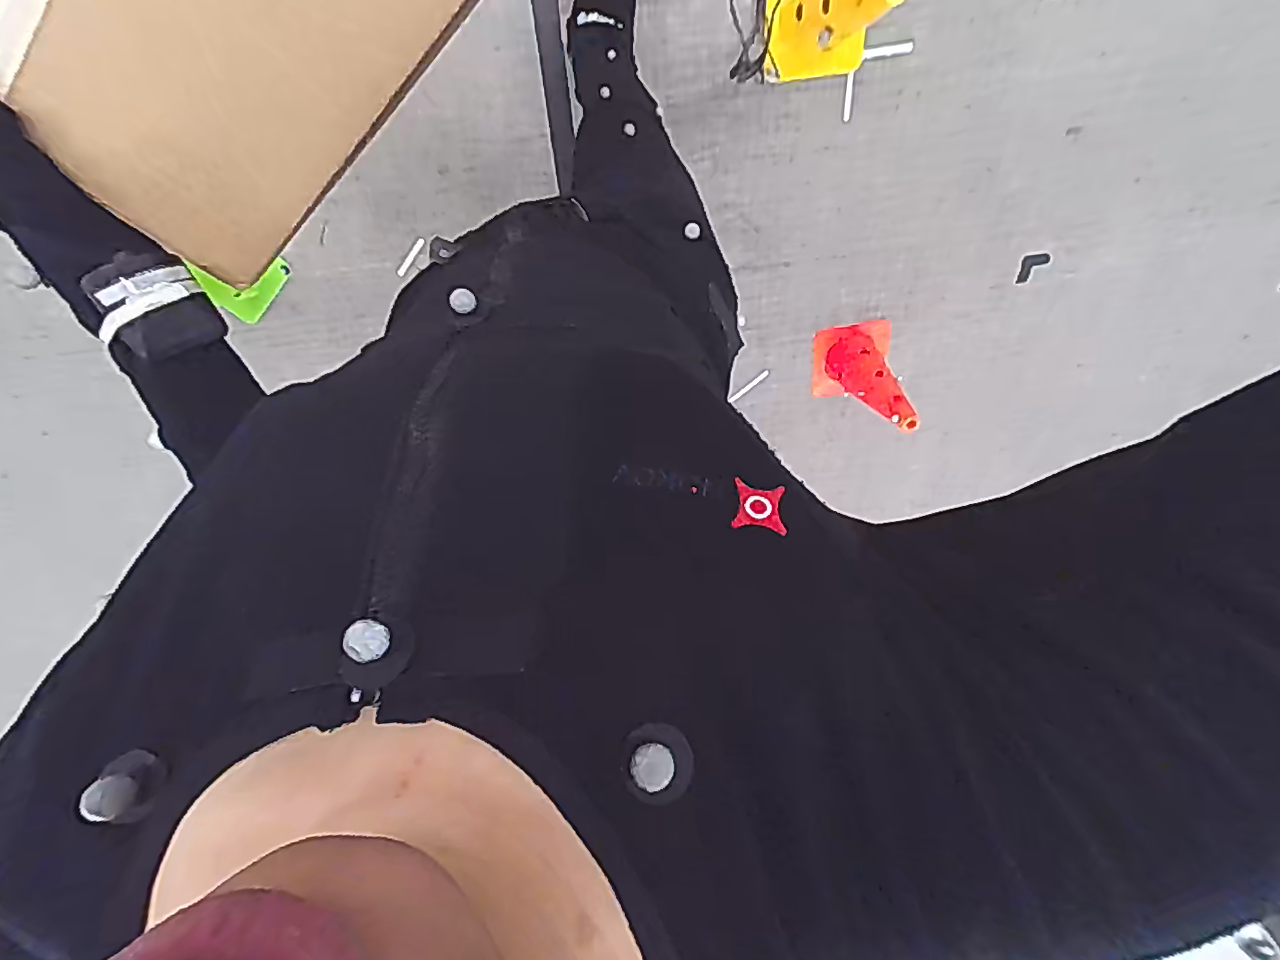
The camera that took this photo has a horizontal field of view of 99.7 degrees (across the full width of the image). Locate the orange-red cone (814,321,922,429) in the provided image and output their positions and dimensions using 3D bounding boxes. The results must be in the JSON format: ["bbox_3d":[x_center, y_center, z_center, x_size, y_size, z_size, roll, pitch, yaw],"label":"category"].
[{"bbox_3d":[0.585,-0.228,1.326,0.198,0.360,0.199,-9,125,1],"label":"orange-red cone"}]

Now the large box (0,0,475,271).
[{"bbox_3d":[-0.277,-0.443,0.371,0.408,0.320,0.320,-36,130,21],"label":"large box"}]

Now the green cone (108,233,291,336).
[{"bbox_3d":[-0.927,-0.384,1.098,0.202,0.368,0.200,-38,119,23],"label":"green cone"}]
